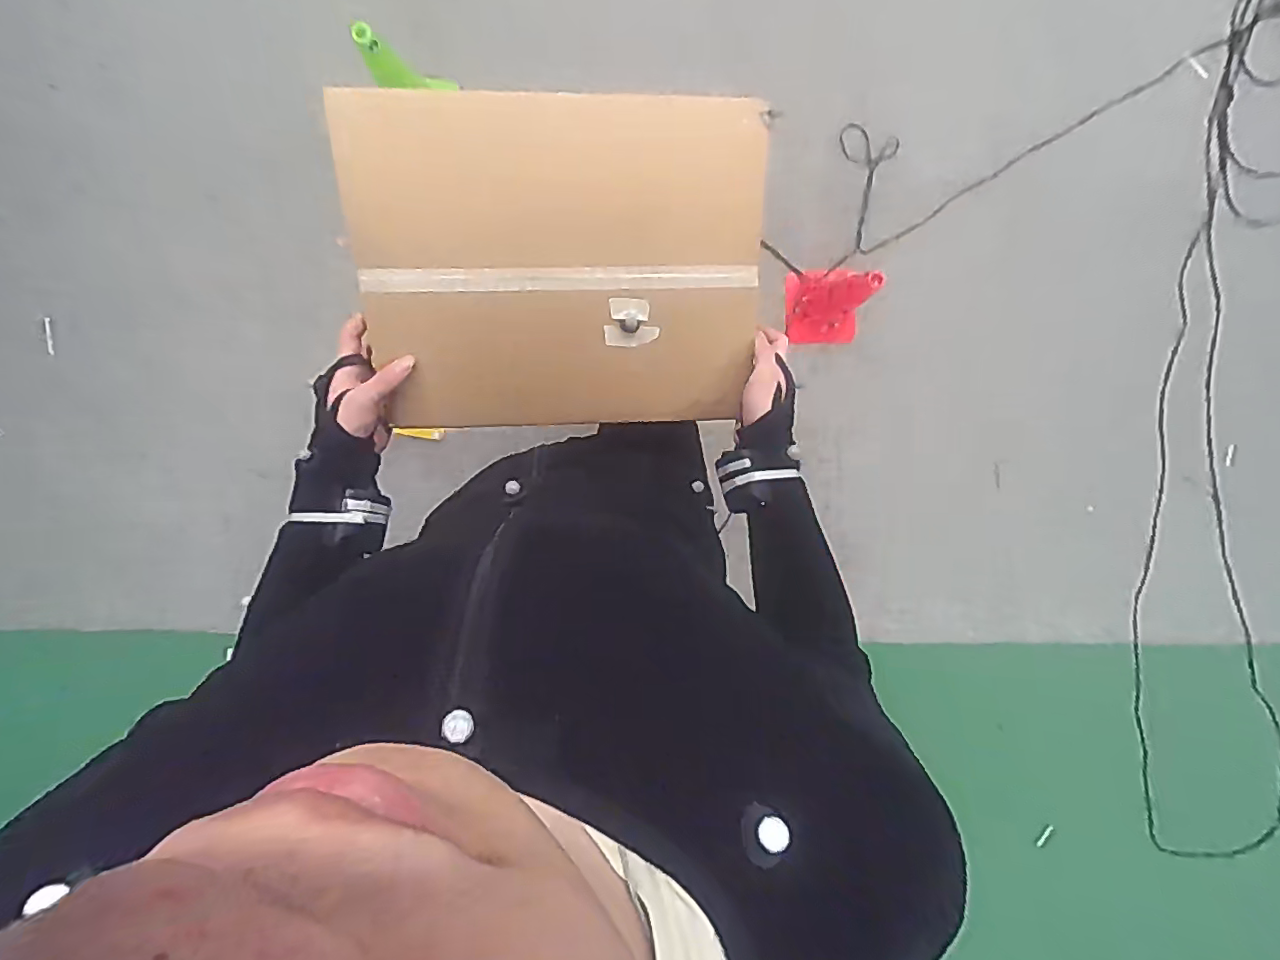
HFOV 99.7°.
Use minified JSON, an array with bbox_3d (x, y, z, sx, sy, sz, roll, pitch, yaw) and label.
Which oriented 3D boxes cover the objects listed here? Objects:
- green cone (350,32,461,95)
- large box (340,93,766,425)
[{"bbox_3d":[-0.579,-0.929,1.277,0.200,0.368,0.202,7,100,-2],"label":"green cone"},{"bbox_3d":[-0.090,-0.270,0.696,0.408,0.320,0.320,-3,113,-6],"label":"large box"}]
